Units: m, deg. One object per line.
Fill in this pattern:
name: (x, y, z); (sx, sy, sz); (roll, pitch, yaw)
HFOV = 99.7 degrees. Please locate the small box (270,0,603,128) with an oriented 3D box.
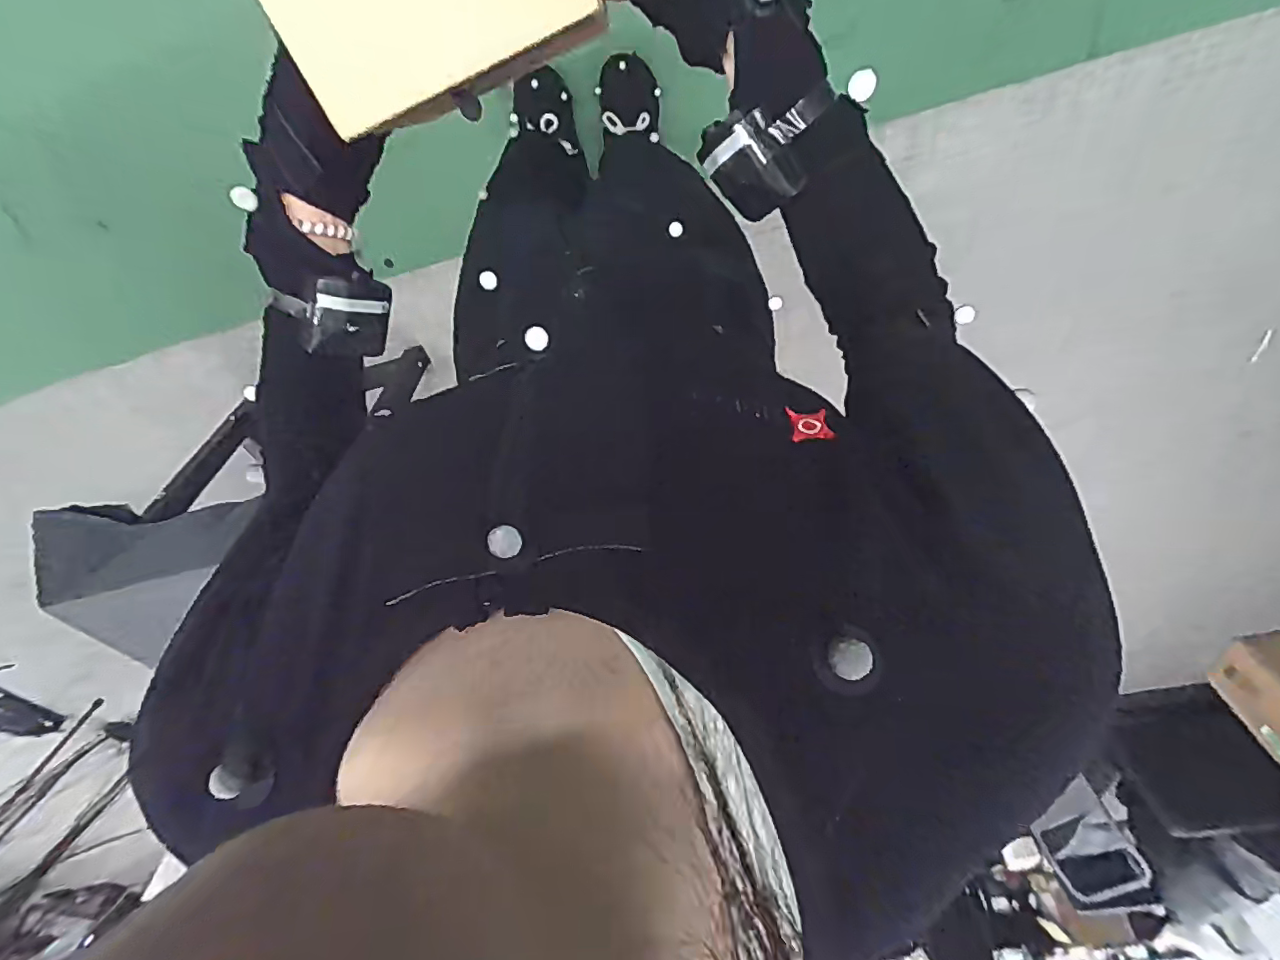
small box: (-0.128, -0.342, 0.320); (0.168, 0.176, 0.179); (-18, 123, 12)
